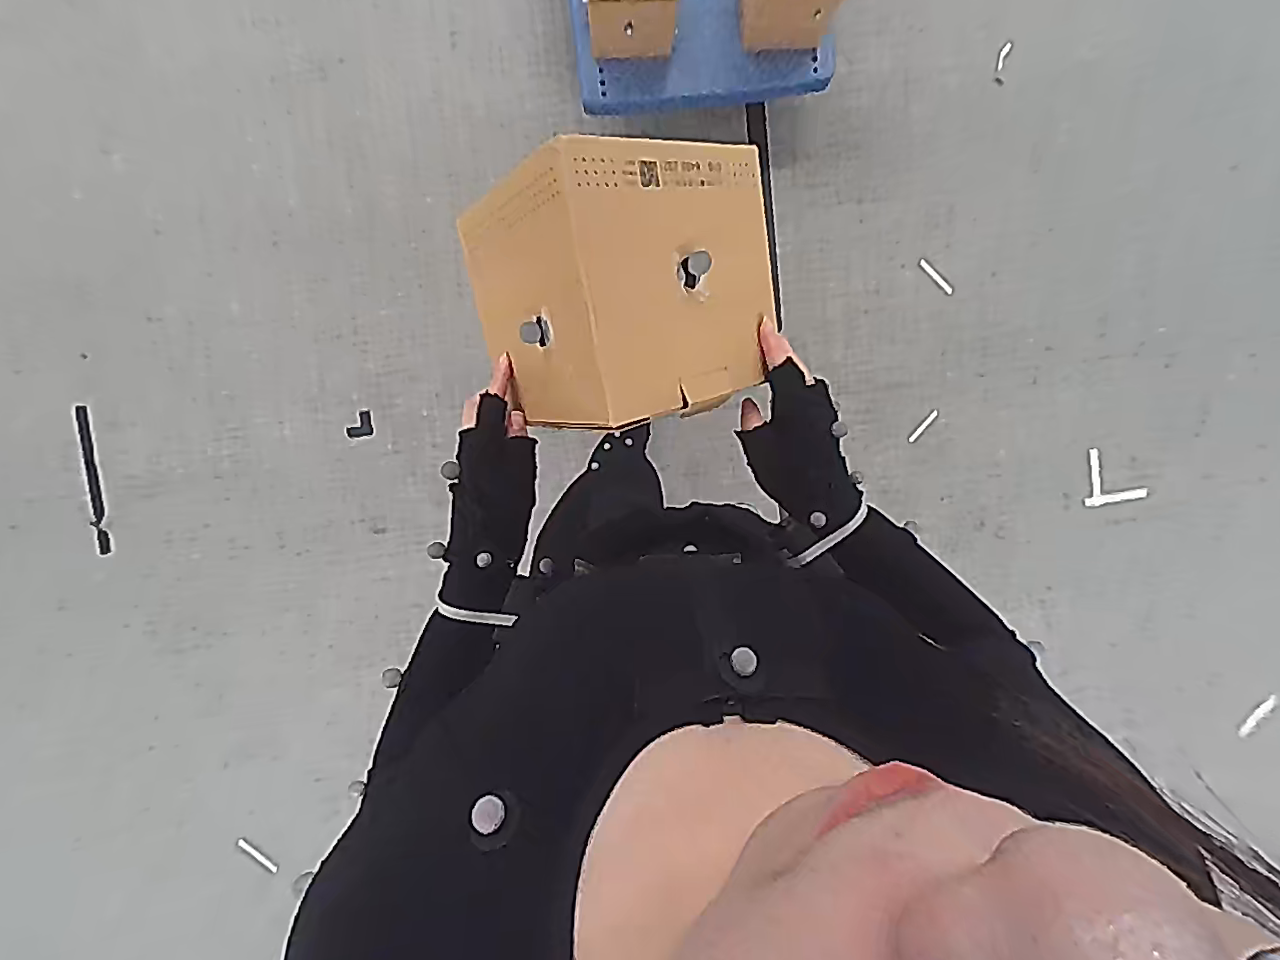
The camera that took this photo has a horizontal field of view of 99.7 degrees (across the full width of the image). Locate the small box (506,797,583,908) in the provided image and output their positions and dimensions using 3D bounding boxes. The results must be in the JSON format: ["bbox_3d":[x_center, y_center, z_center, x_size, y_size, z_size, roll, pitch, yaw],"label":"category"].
[{"bbox_3d":[-0.255,1.014,1.482,0.168,0.176,0.179,-9,95,0],"label":"small box"}]

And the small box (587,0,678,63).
[{"bbox_3d":[-0.019,-1.002,1.114,0.179,0.176,0.168,-3,95,0],"label":"small box"}]

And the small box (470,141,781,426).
[{"bbox_3d":[-0.017,-0.146,0.430,0.168,0.179,0.176,-20,106,-32],"label":"small box"}]
